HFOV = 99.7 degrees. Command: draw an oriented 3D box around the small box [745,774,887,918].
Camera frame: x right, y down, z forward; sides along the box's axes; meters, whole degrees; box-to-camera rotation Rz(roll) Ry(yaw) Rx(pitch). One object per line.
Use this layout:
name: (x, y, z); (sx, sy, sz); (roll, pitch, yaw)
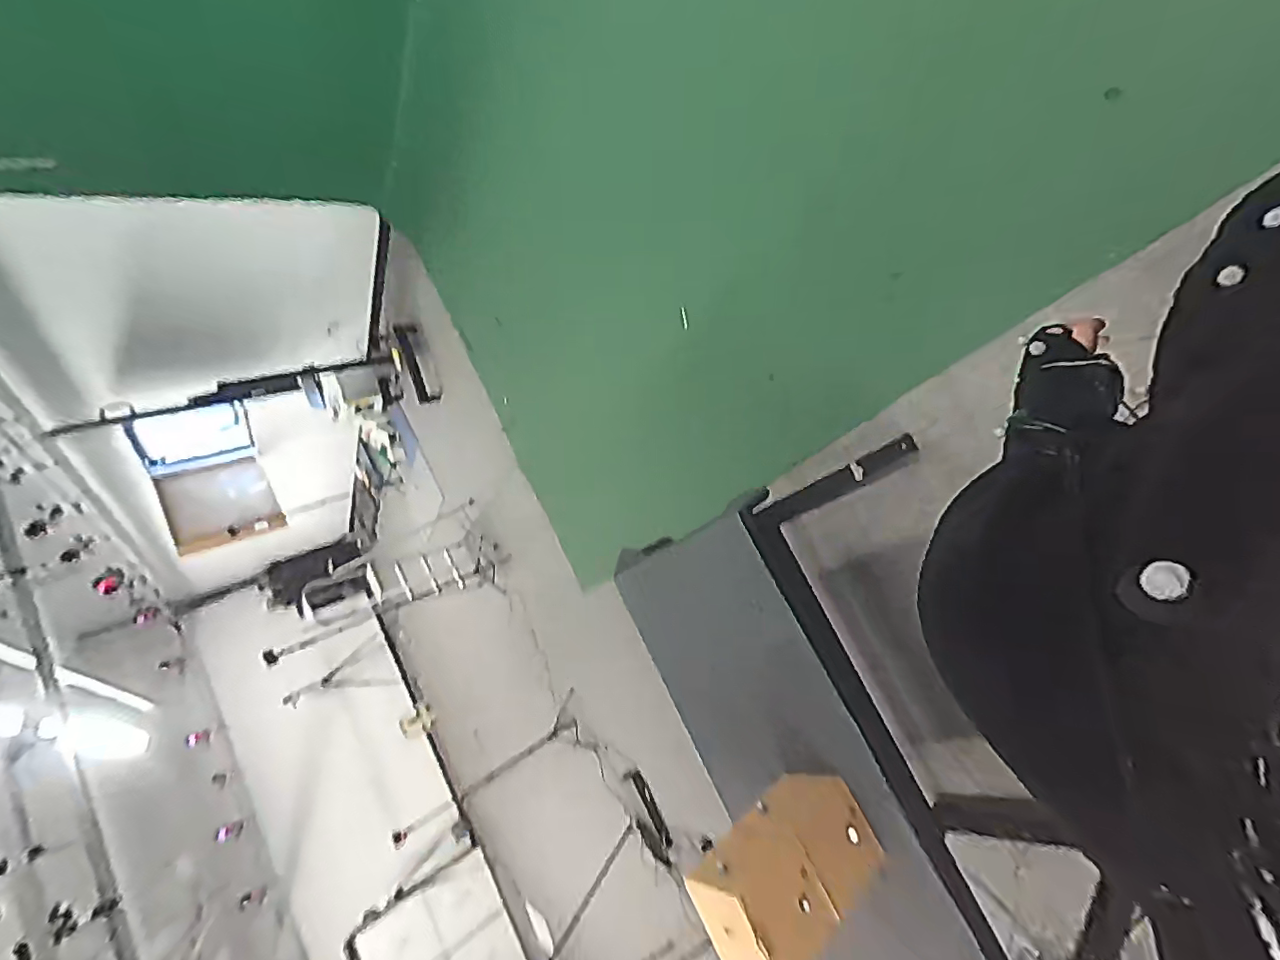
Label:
small box: (0.353, 0.718, 1.086); (0.168, 0.176, 0.179); (62, 144, 10)

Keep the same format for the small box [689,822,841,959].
small box: (0.228, 0.764, 0.994); (0.168, 0.176, 0.179); (63, 145, 10)
